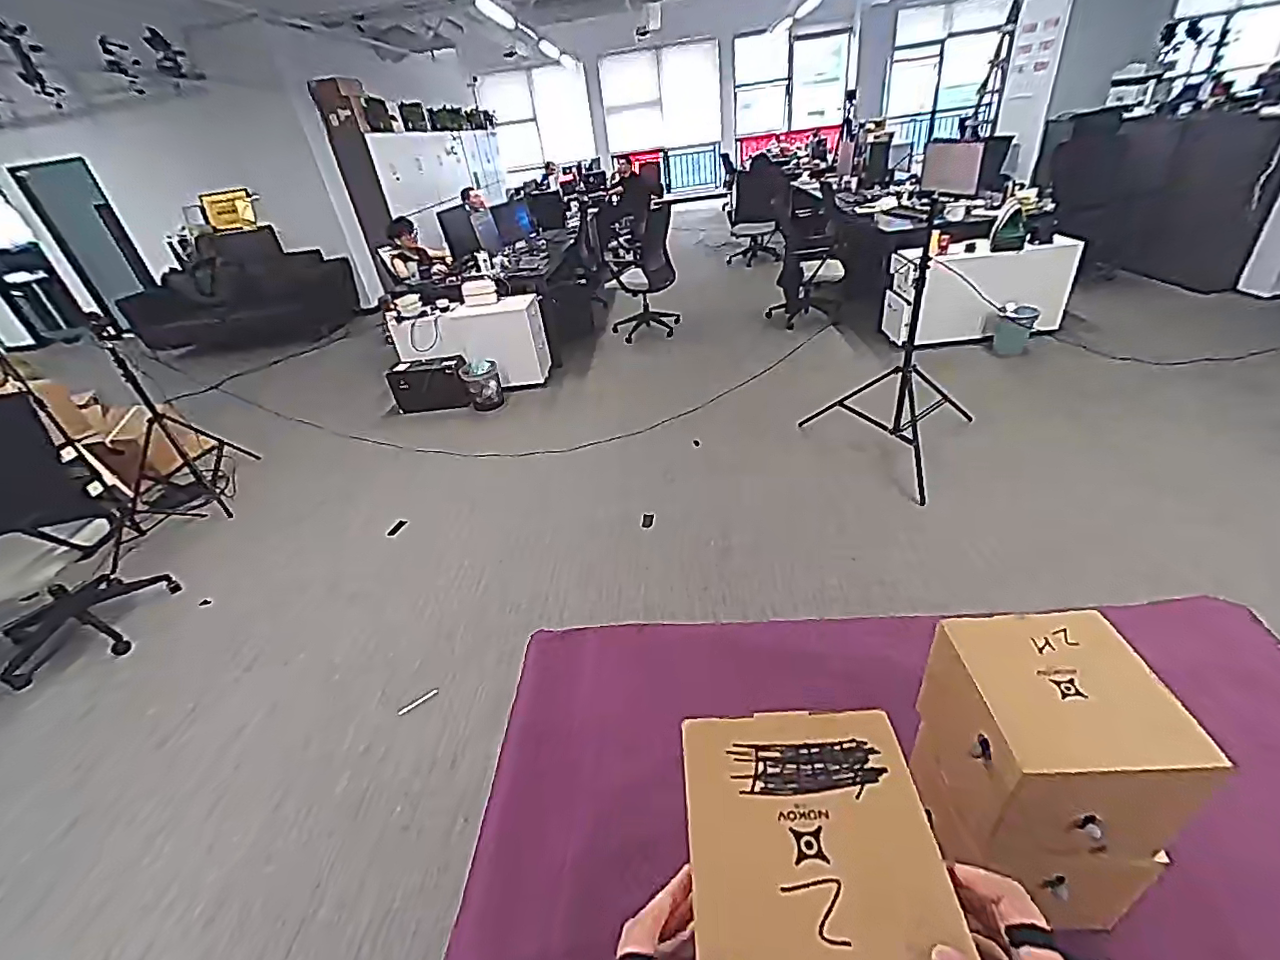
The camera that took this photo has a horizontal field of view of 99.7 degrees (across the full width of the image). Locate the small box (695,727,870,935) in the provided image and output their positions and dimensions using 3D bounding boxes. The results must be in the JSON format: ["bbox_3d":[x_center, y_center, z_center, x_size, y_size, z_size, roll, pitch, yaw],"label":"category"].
[{"bbox_3d":[0.163,0.431,0.667,0.179,0.176,0.168,-4,33,5],"label":"small box"}]

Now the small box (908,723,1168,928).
[{"bbox_3d":[0.447,0.404,0.647,0.179,0.176,0.168,-5,33,6],"label":"small box"}]

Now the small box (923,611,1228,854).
[{"bbox_3d":[0.420,0.263,0.565,0.168,0.176,0.179,-5,33,6],"label":"small box"}]
